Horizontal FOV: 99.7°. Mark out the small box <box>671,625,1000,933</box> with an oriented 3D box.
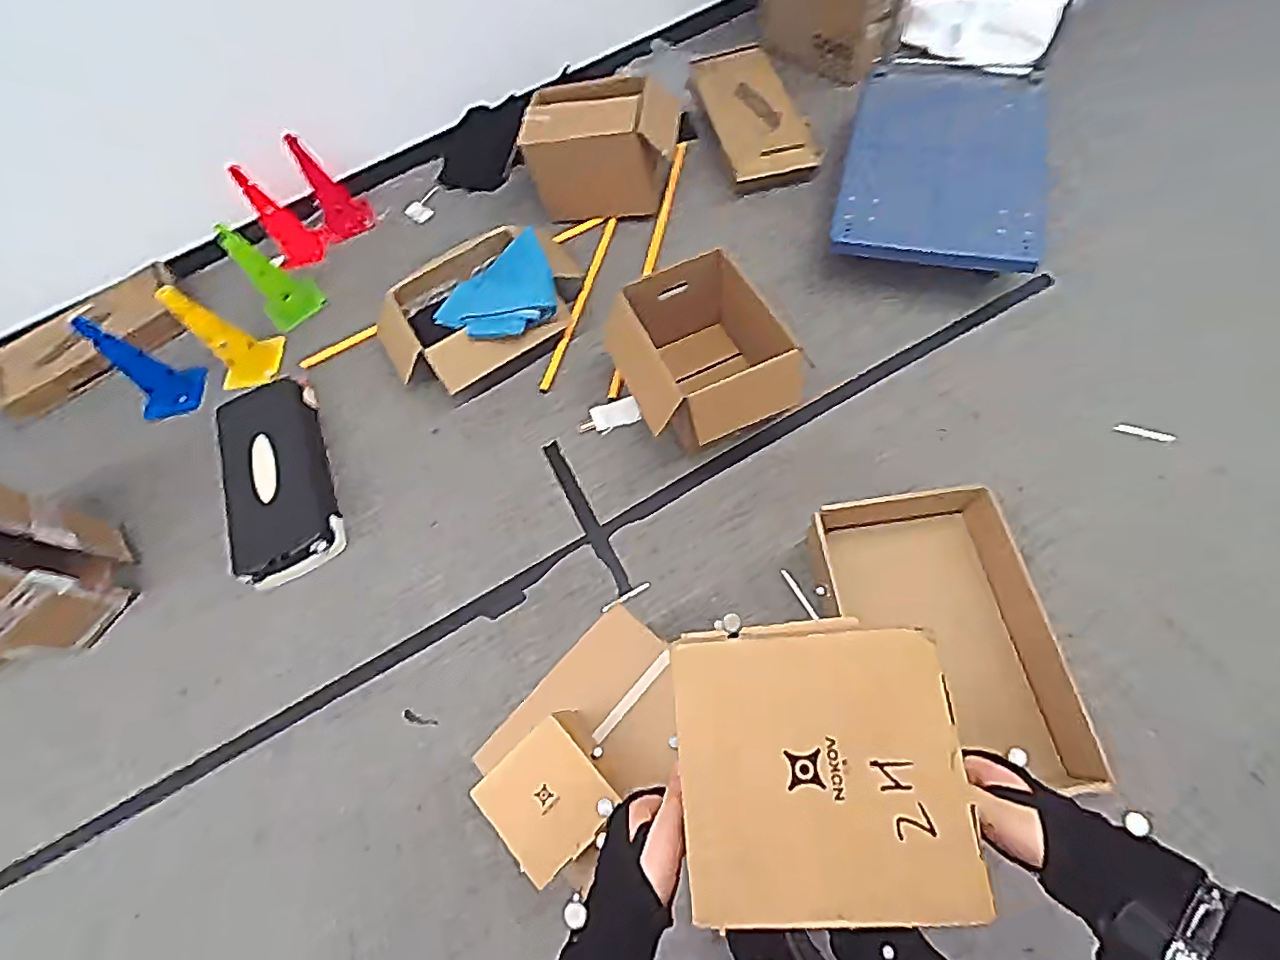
[{"bbox_3d":[0.122,0.199,0.407,0.179,0.176,0.168,-5,74,7],"label":"small box"}]
